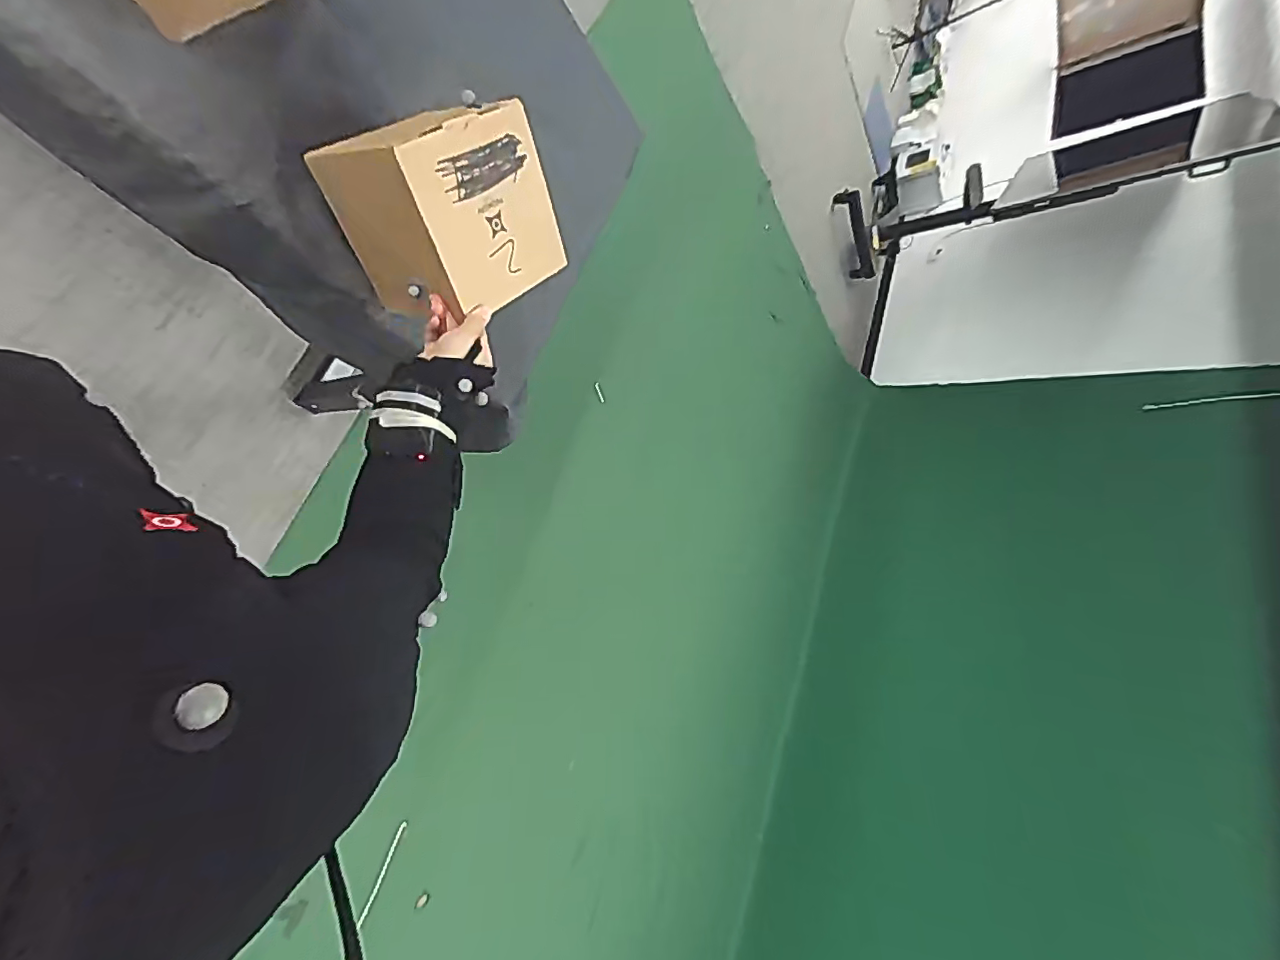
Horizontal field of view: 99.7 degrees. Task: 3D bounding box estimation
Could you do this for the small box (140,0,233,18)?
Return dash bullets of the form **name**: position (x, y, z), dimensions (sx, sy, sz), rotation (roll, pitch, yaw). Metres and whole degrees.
- **small box**: position (-0.377, -0.521, 0.433), dimensions (0.179, 0.176, 0.168), rotation (52, 53, -38)
